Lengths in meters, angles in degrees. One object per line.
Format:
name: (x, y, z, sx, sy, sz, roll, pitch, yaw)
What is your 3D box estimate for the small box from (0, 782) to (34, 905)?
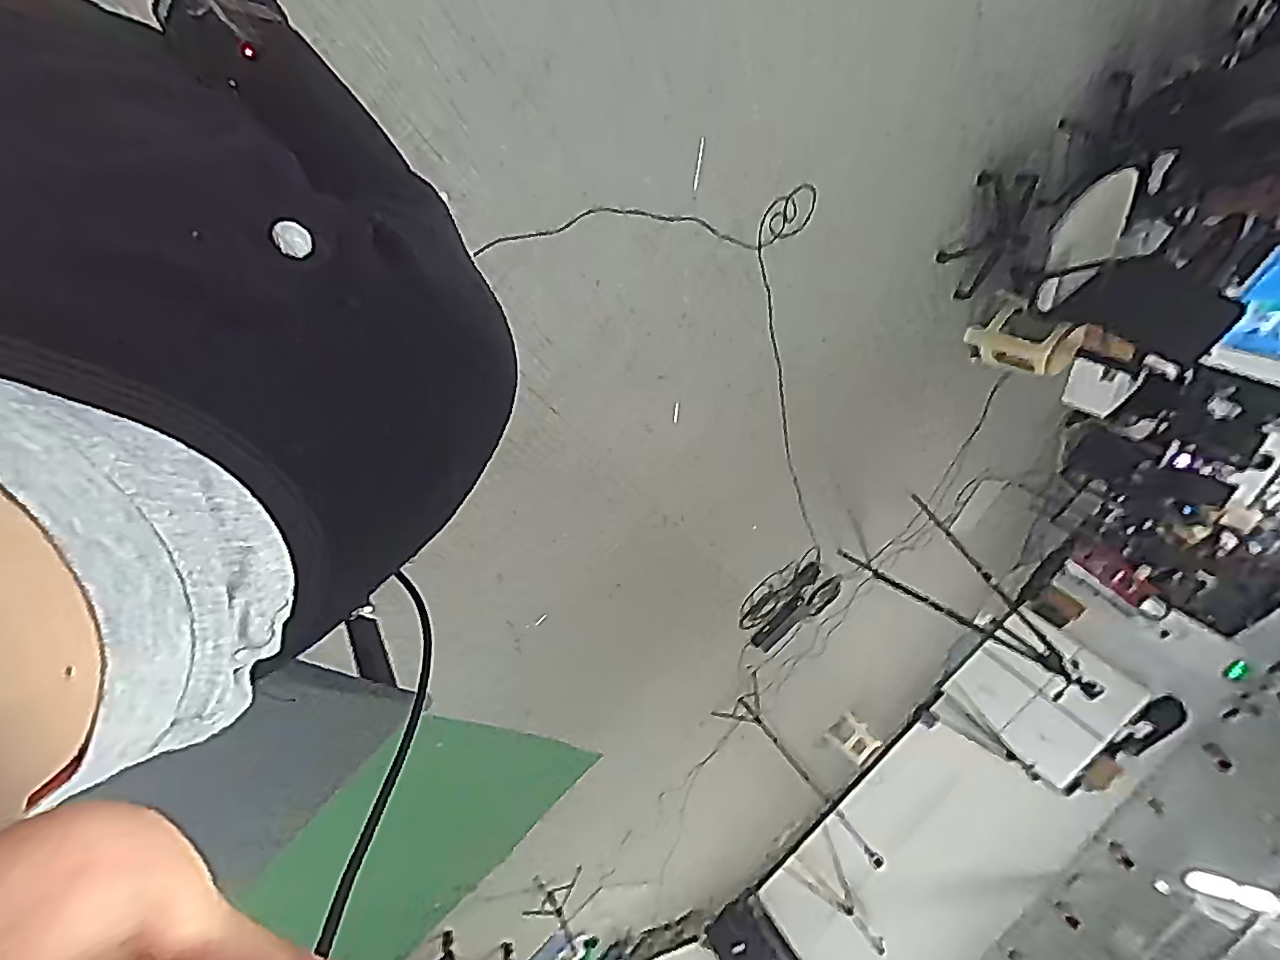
small box: (-0.966, 0.520, 0.706, 0.168, 0.176, 0.179, -49, 137, 0)
